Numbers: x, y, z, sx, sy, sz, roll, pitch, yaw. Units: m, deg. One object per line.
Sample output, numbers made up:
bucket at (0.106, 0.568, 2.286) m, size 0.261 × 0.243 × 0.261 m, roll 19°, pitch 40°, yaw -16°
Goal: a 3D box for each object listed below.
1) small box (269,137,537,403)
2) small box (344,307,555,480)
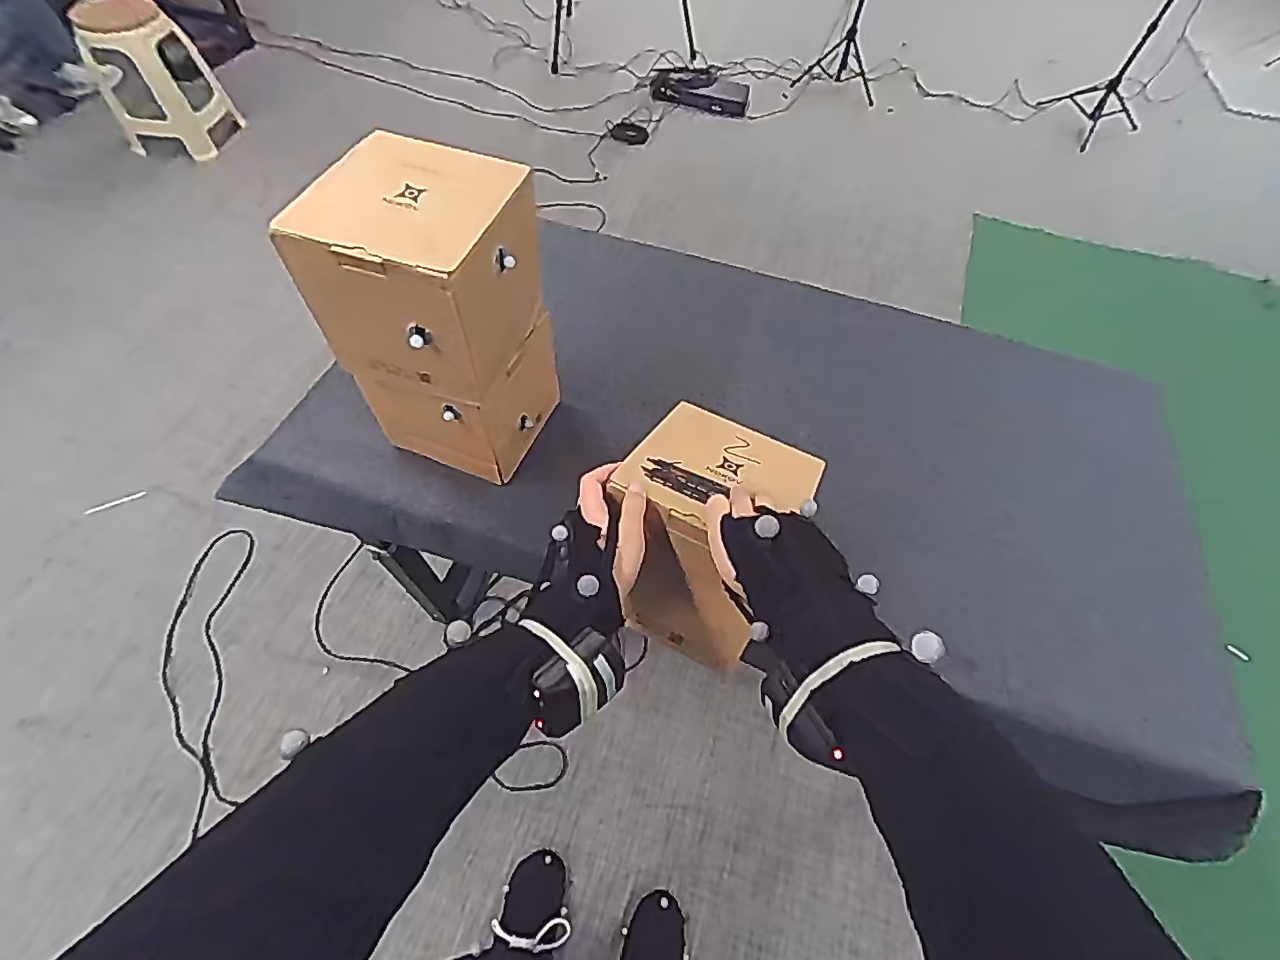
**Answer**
small box at (-0.212, -0.206, 0.549) m, size 0.168 × 0.176 × 0.179 m, roll 16°, pitch 57°, yaw 4°
small box at (-0.224, -0.125, 0.689) m, size 0.179 × 0.176 × 0.168 m, roll 20°, pitch 58°, yaw 9°
